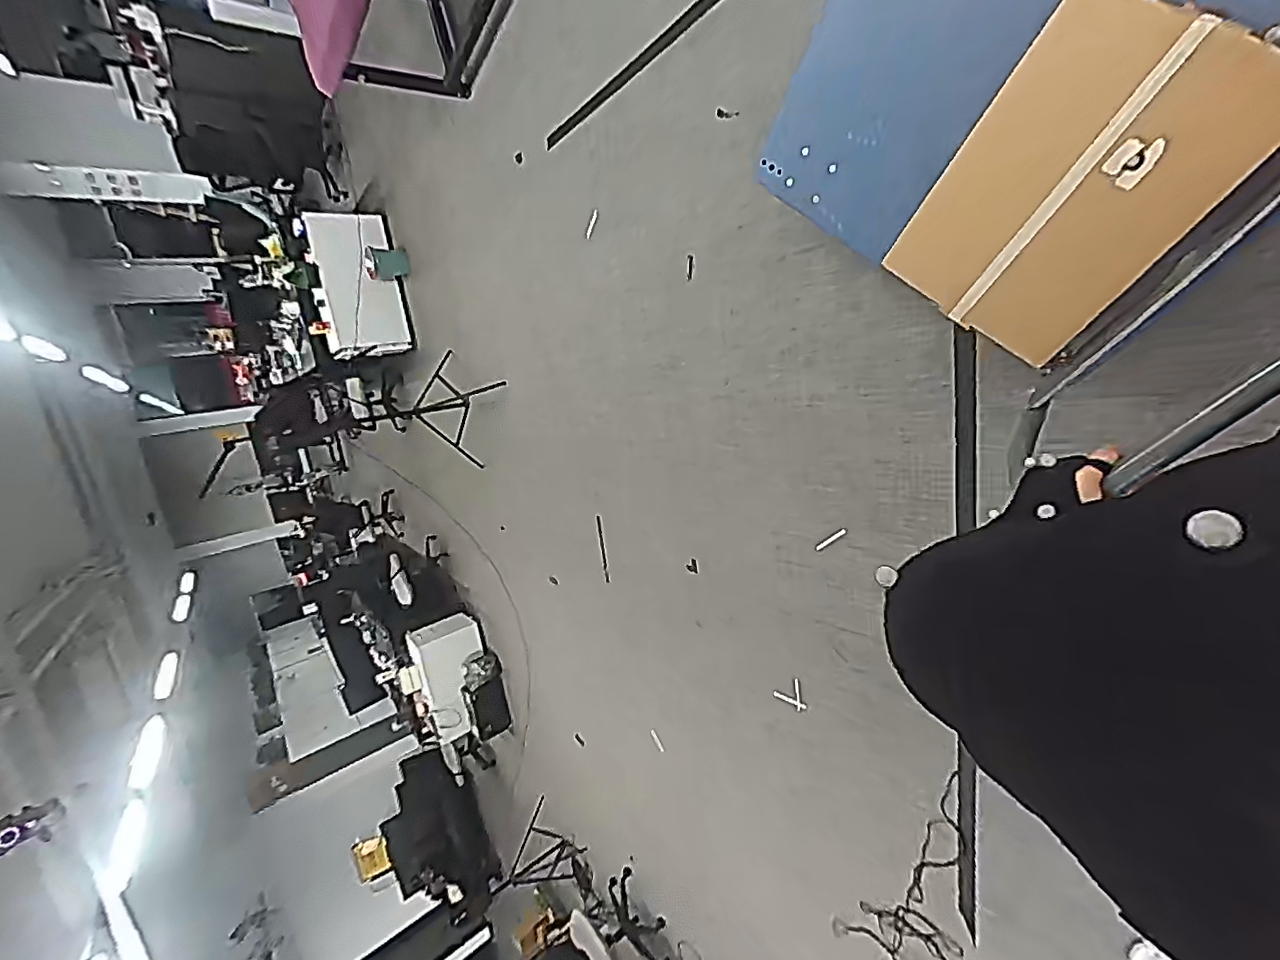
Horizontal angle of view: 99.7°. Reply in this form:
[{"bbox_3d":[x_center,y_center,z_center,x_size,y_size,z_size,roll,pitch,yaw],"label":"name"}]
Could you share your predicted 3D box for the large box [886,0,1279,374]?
[{"bbox_3d":[0.686,-0.445,0.855,0.320,0.320,0.408,44,136,18],"label":"large box"}]
